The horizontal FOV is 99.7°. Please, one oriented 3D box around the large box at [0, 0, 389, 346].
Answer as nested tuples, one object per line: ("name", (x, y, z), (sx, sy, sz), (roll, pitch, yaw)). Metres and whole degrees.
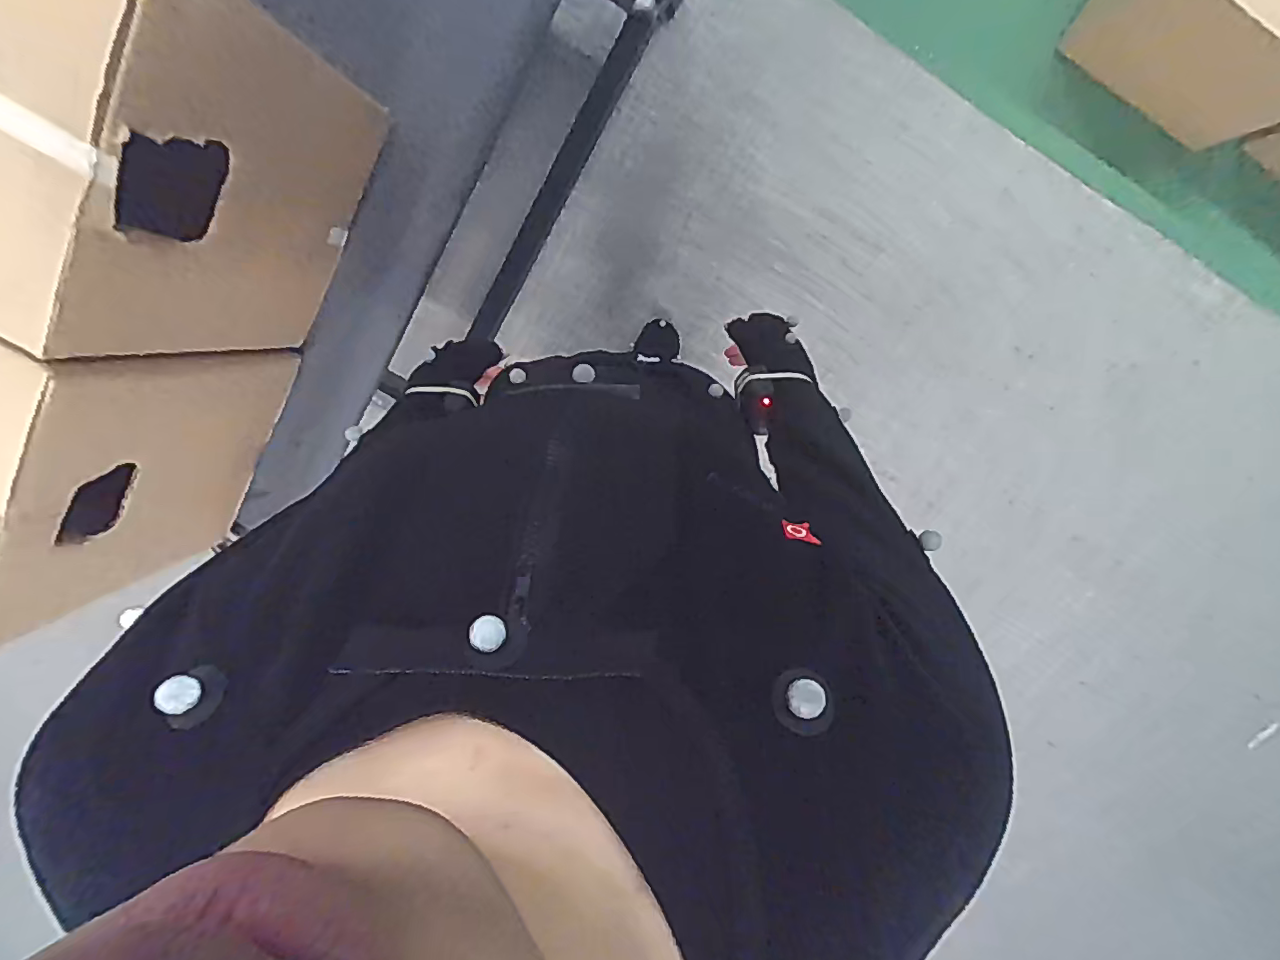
("large box", (-0.538, -0.362, 0.502), (0.408, 0.320, 0.320), (29, 105, -7))
